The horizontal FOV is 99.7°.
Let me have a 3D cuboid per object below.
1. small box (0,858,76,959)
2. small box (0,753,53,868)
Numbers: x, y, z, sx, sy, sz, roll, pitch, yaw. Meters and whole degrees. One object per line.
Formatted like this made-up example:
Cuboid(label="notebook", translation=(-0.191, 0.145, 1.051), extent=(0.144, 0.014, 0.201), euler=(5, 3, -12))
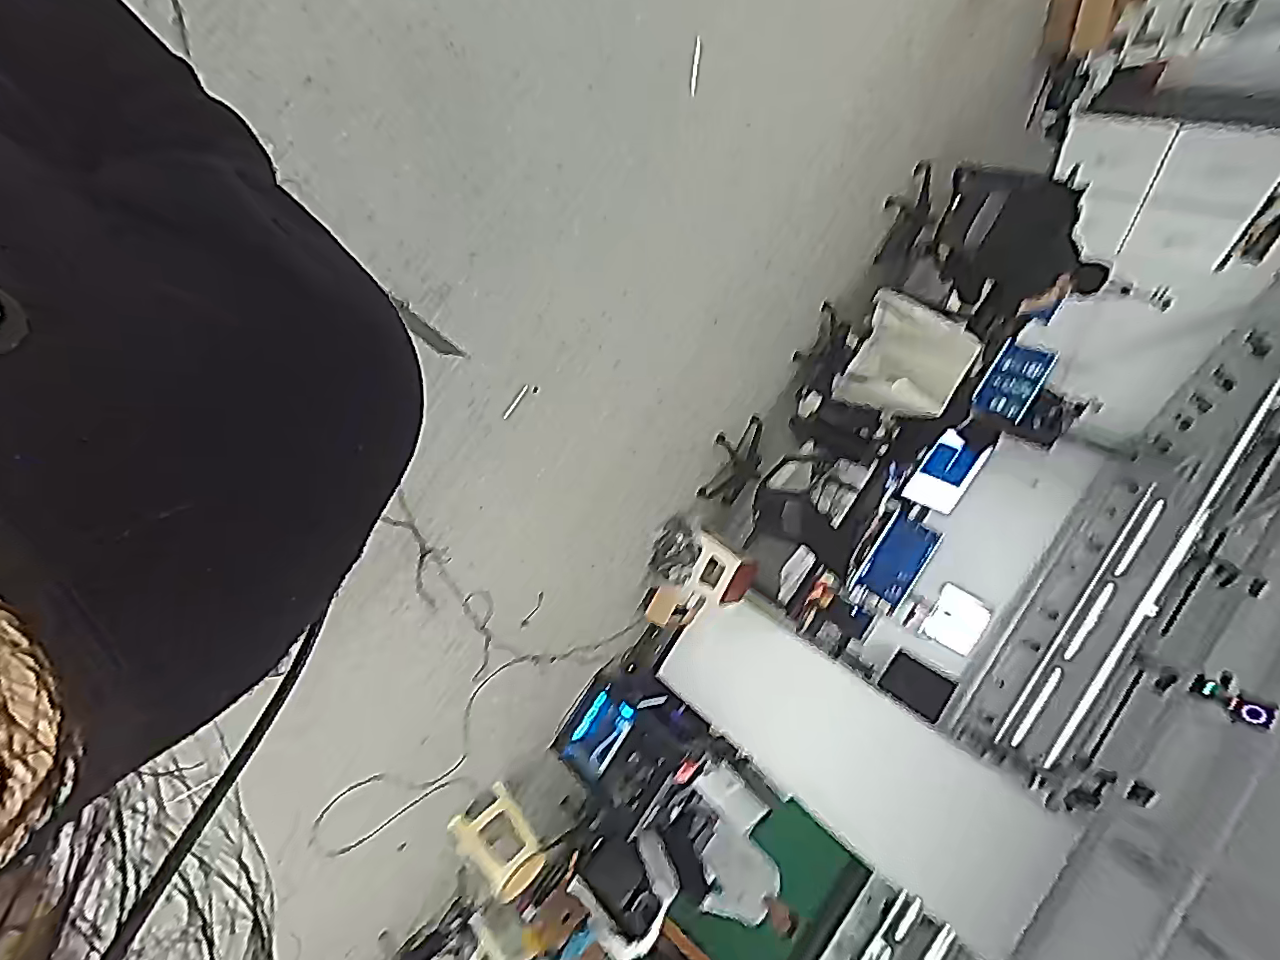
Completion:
Cuboid(label="small box", translation=(-0.679, 0.502, 0.495), extent=(0.168, 0.176, 0.179), euler=(-58, 147, 2))
Cuboid(label="small box", translation=(-0.795, 0.420, 0.577), extent=(0.179, 0.176, 0.168), euler=(-58, 148, 0))
